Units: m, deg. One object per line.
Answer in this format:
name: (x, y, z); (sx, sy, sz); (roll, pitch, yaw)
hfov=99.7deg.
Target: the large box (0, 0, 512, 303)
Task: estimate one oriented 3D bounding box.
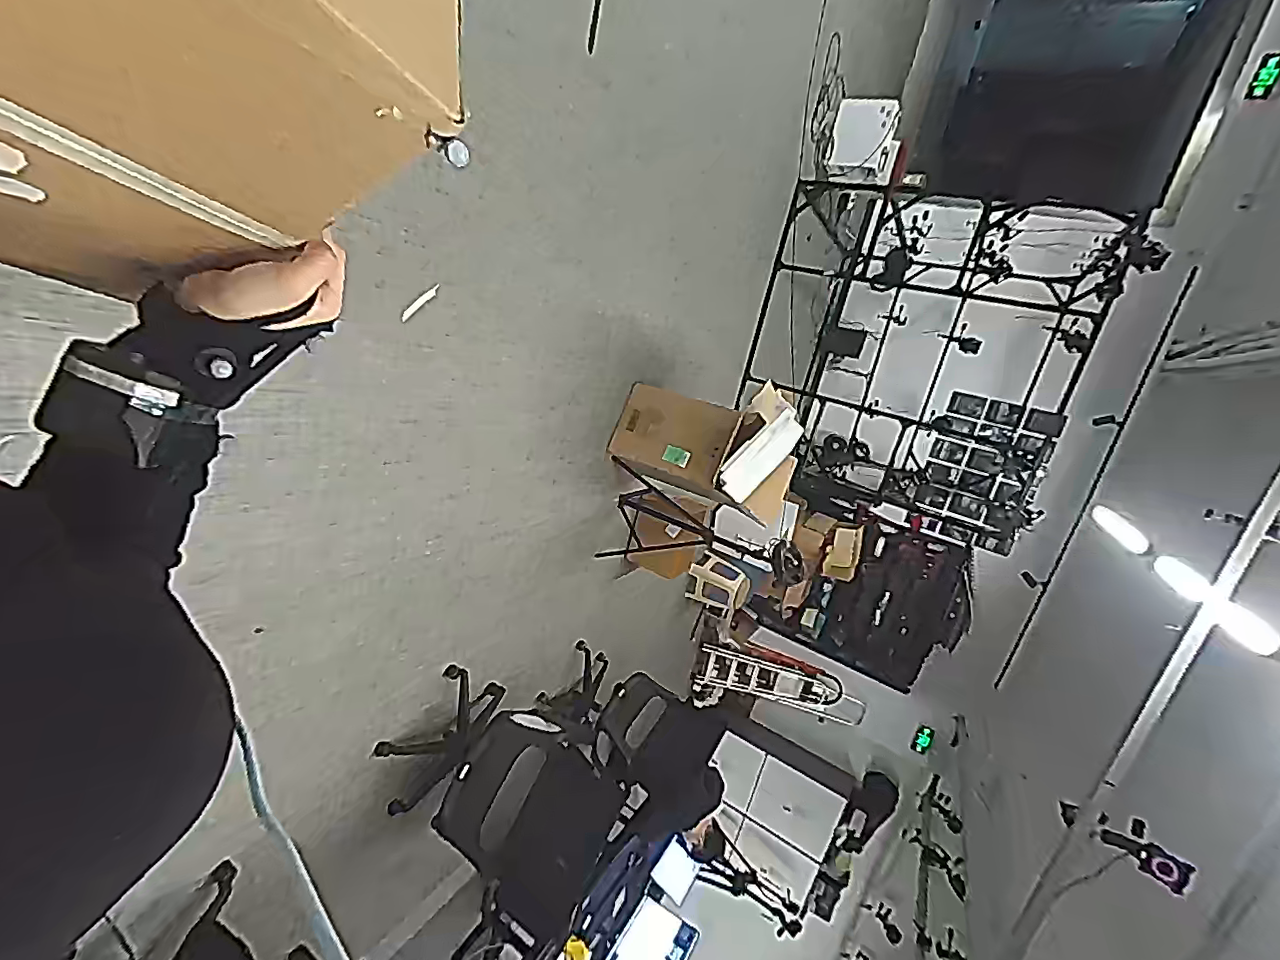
large box: (-0.310, -0.335, 0.210); (0.408, 0.320, 0.320); (13, 69, -58)
